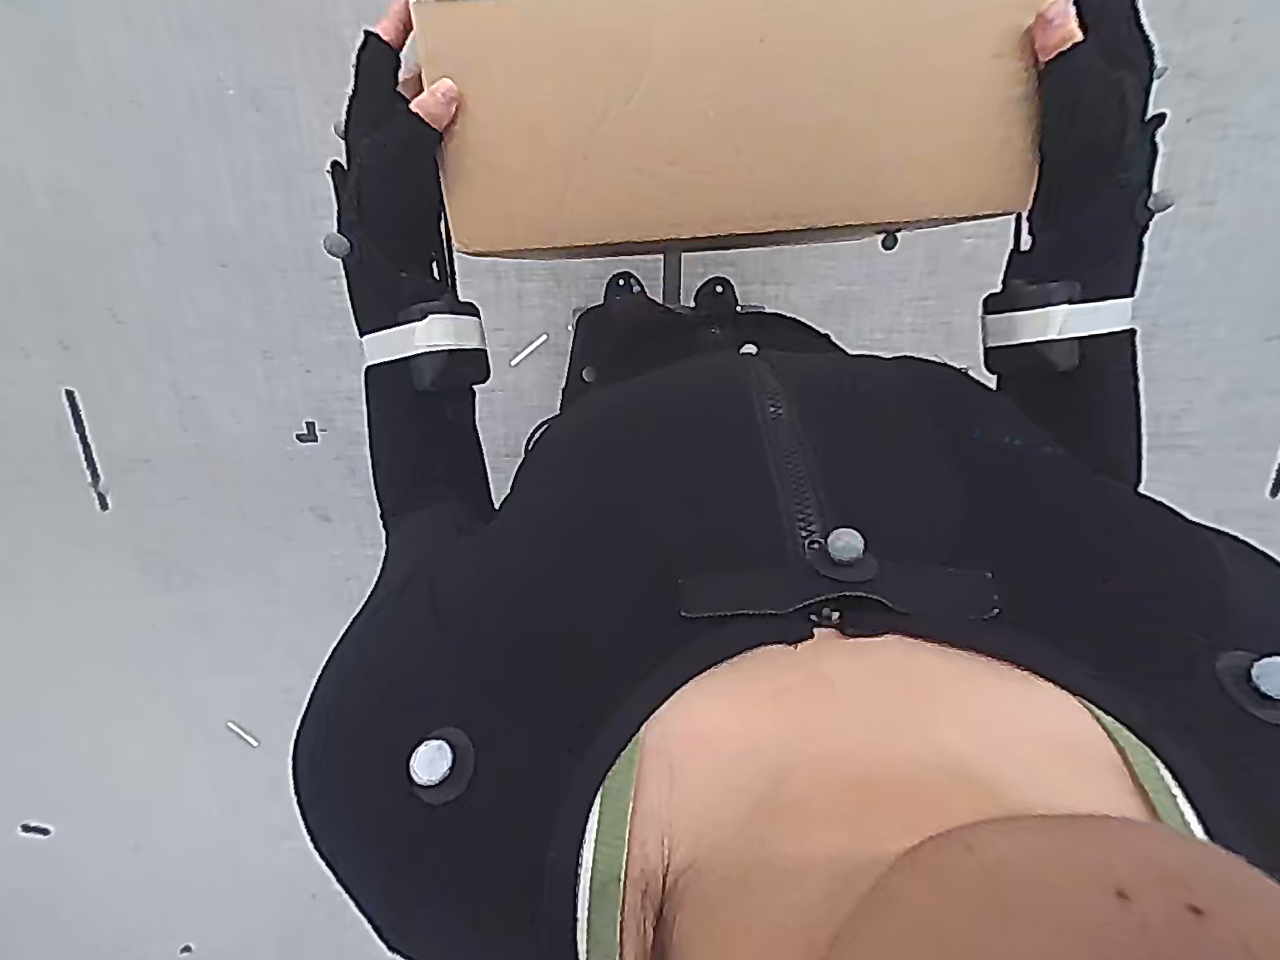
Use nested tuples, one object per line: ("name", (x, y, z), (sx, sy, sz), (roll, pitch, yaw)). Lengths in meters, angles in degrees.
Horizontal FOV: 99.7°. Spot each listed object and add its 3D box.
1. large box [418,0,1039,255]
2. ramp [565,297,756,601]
("large box", (0.056, -0.378, 0.475), (0.408, 0.320, 0.320), (-3, 111, 1))
("ramp", (0.059, -0.026, 1.607), (0.509, 0.206, 0.991), (-2, 109, 0))
